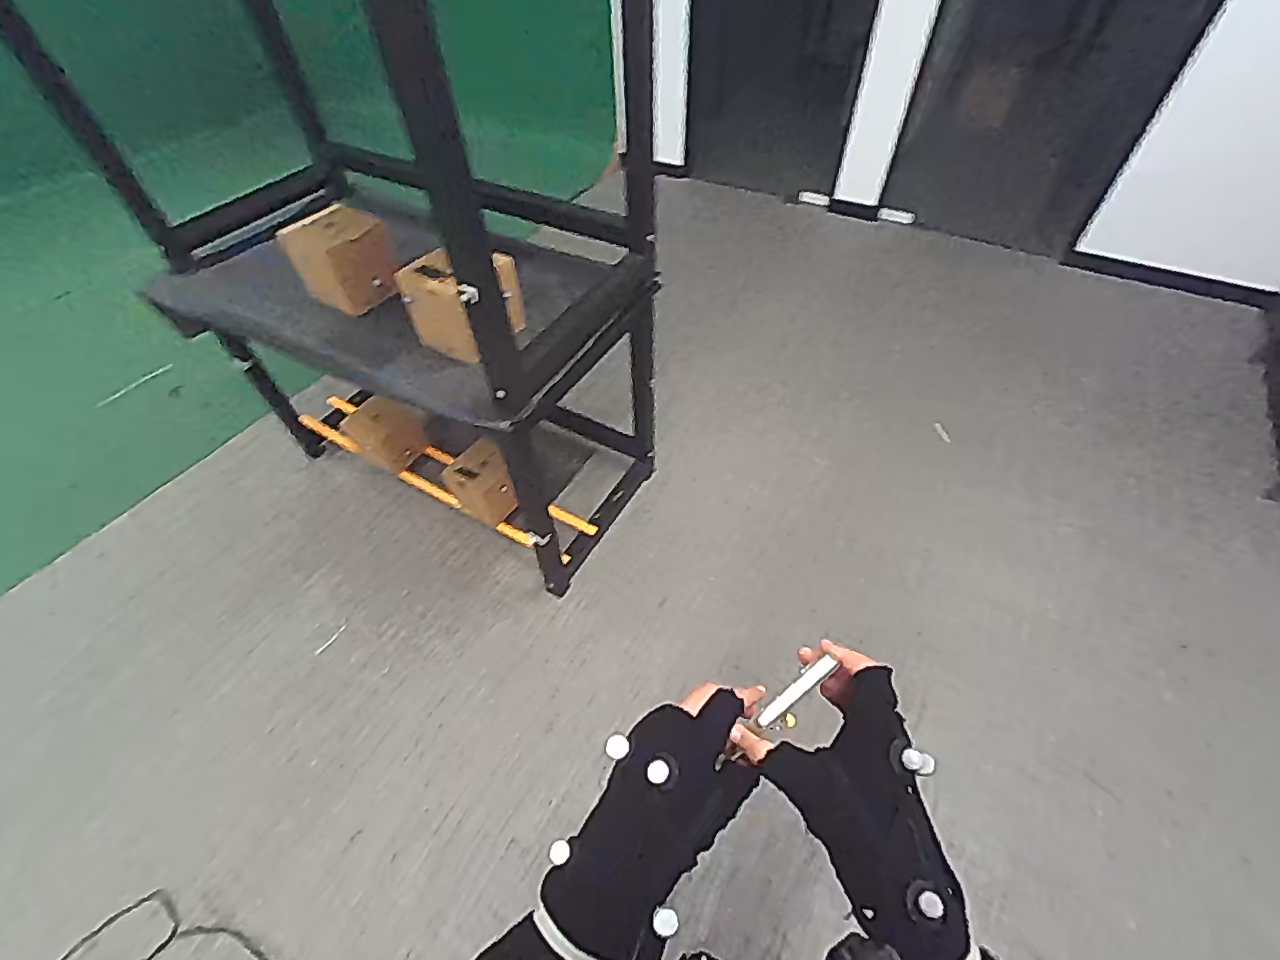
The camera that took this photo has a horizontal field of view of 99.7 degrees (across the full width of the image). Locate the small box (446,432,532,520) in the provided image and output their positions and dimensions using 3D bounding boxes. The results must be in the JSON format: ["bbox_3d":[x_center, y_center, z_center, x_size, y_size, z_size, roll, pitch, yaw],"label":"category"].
[{"bbox_3d":[-0.453,-0.009,1.657,0.168,0.176,0.179,28,57,22],"label":"small box"}]

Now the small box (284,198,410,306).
[{"bbox_3d":[-0.692,-0.543,1.295,0.179,0.176,0.168,27,57,22],"label":"small box"}]
